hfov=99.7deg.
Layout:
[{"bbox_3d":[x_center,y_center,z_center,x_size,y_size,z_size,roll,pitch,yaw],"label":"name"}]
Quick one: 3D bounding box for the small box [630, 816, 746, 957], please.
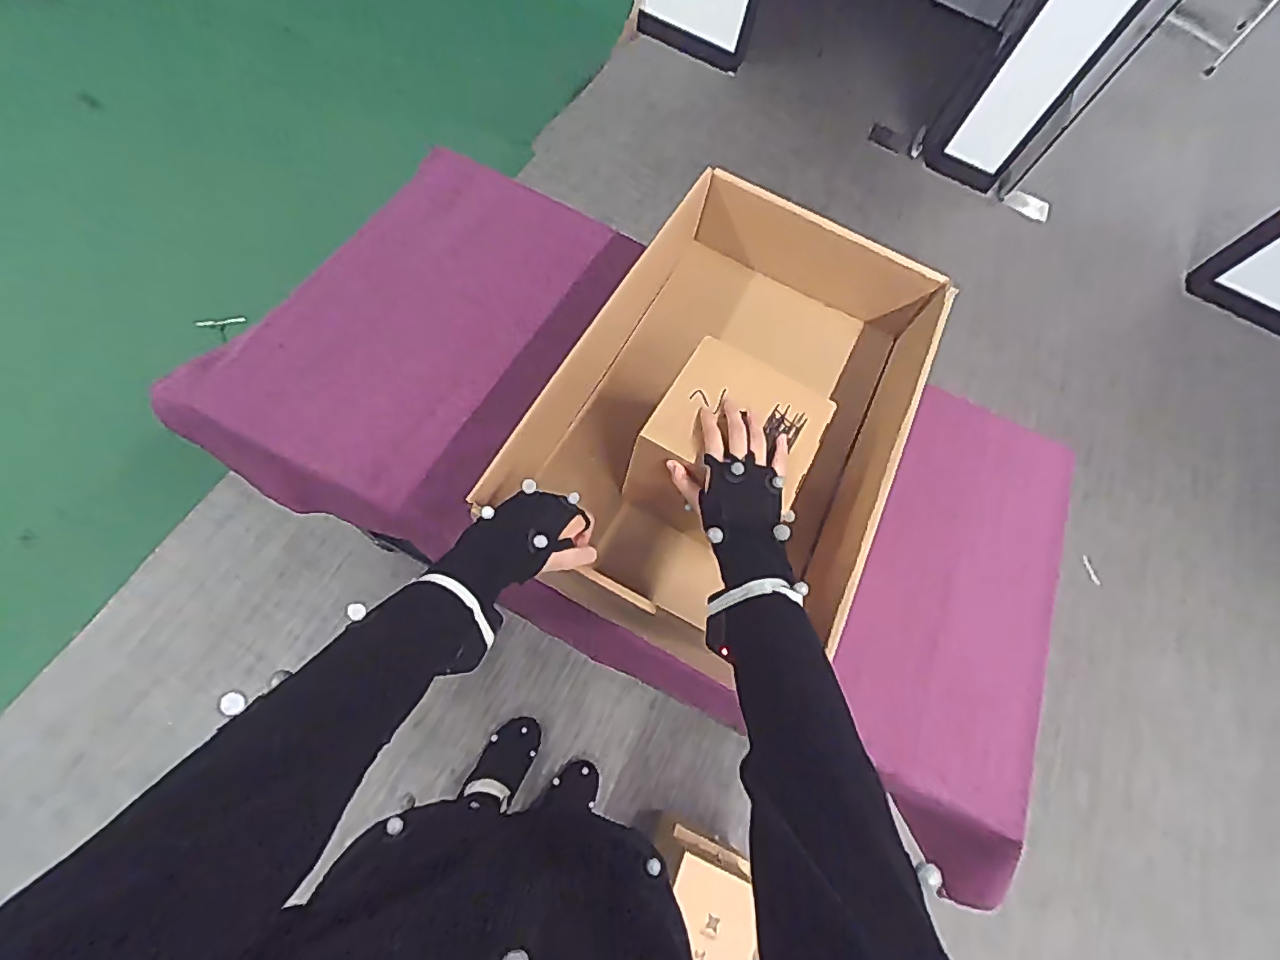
[{"bbox_3d":[0.095,0.848,1.151,0.179,0.176,0.168,26,66,4],"label":"small box"}]
